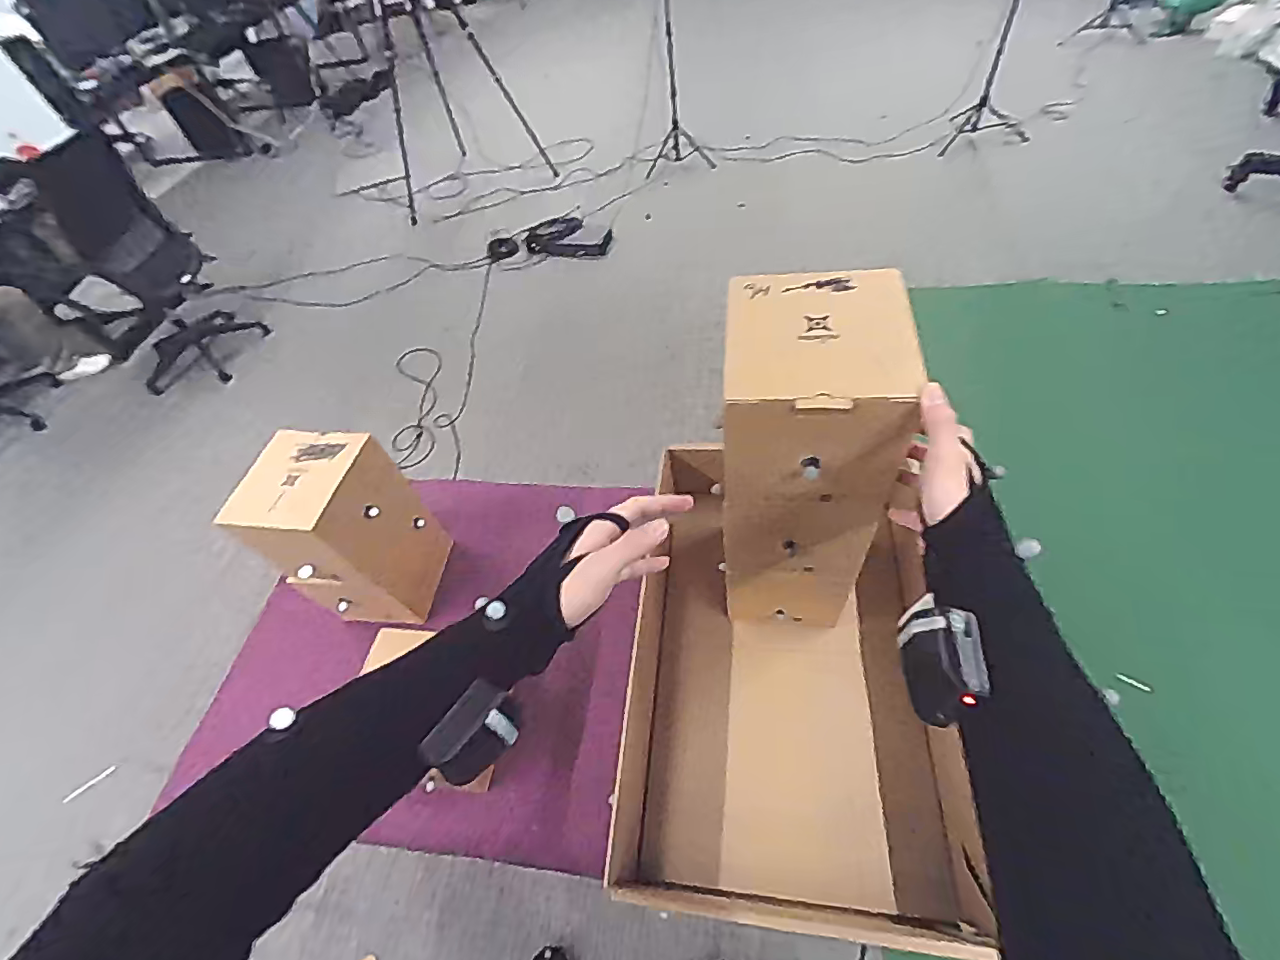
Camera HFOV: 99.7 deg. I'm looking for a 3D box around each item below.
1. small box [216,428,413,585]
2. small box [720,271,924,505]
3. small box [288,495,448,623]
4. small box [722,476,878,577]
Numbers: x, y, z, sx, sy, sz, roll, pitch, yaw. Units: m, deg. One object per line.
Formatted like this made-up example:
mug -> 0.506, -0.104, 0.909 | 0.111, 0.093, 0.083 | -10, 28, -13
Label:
small box -> -0.484, 0.042, 0.842 | 0.168, 0.176, 0.179 | 4, 54, 12
small box -> 0.172, -0.087, 0.559 | 0.168, 0.176, 0.179 | 1, 56, 11
small box -> -0.470, 0.144, 0.971 | 0.168, 0.176, 0.179 | 0, 52, 9
small box -> 0.196, 0.009, 0.689 | 0.168, 0.176, 0.179 | 3, 54, 12
